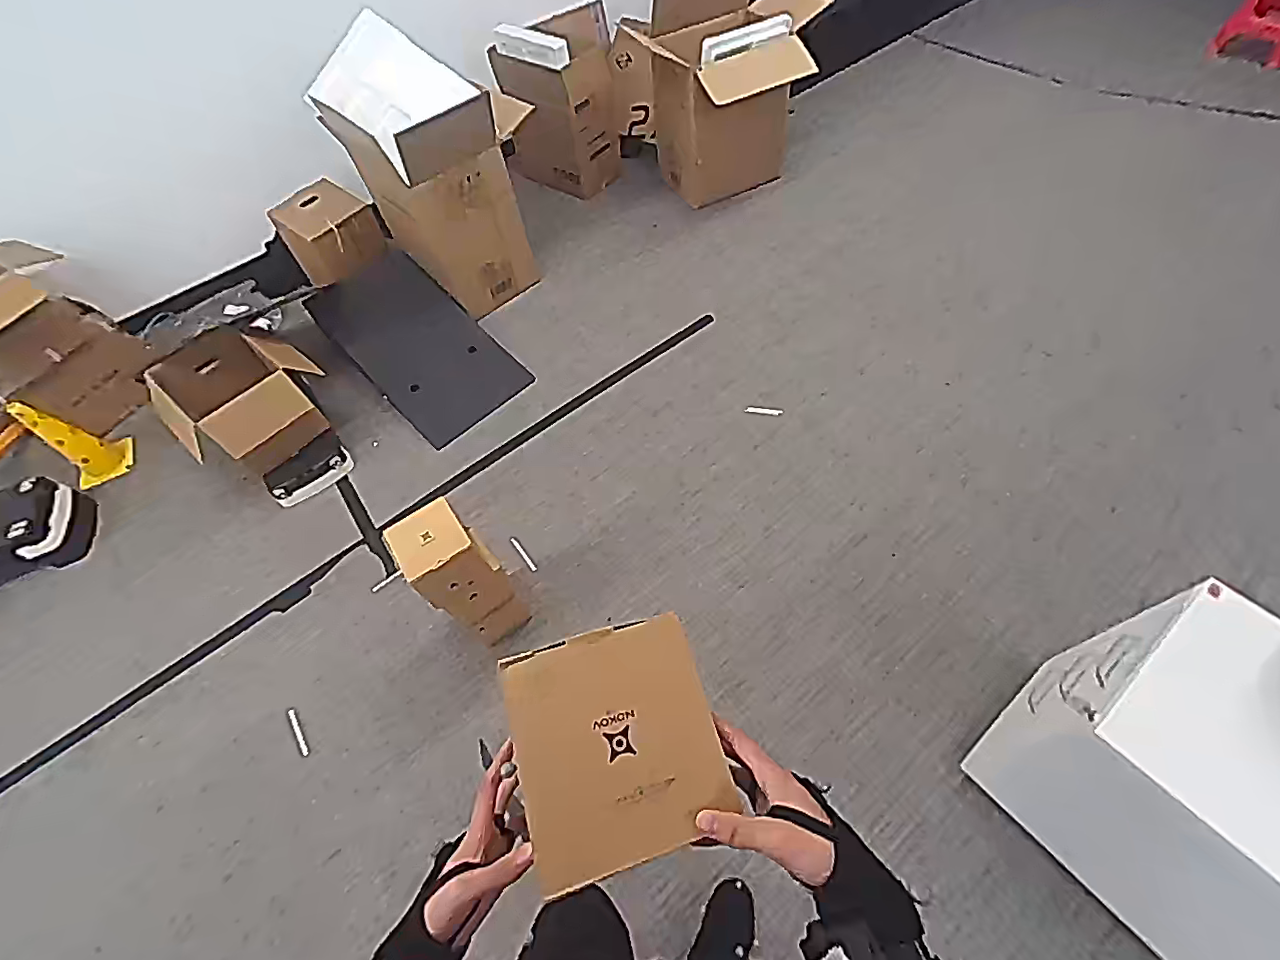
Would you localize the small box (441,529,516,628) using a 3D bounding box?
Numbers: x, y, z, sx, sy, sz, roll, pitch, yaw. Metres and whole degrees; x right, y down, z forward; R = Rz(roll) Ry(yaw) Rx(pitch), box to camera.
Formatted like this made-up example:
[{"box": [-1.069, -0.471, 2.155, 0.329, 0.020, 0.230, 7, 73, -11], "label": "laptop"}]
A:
[{"box": [-0.468, 0.275, 1.486, 0.179, 0.176, 0.168, -35, 59, -17], "label": "small box"}]

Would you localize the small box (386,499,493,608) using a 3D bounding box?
[{"box": [-0.496, 0.187, 1.352, 0.168, 0.176, 0.179, -33, 60, -16], "label": "small box"}]

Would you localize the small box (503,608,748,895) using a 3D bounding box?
[{"box": [-0.028, 0.242, 0.504, 0.168, 0.176, 0.179, -12, 65, -15], "label": "small box"}]
